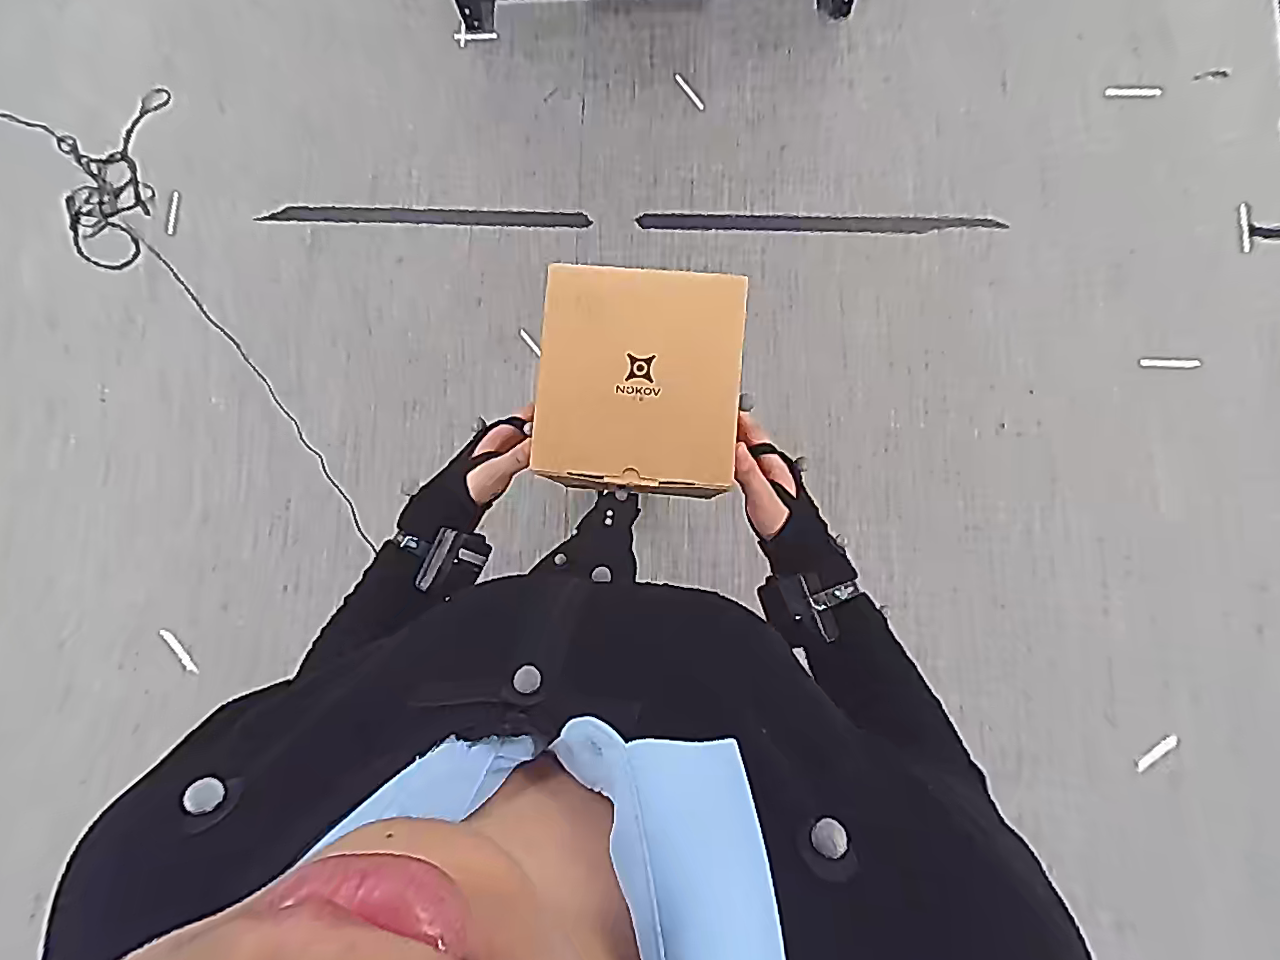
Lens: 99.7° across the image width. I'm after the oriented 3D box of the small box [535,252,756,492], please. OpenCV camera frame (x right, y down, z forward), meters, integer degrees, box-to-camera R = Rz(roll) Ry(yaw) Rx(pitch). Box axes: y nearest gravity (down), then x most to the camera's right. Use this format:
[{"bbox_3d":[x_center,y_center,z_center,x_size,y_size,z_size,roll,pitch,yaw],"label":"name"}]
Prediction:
[{"bbox_3d":[0.006,-0.086,0.508,0.168,0.176,0.179,5,86,2],"label":"small box"}]
